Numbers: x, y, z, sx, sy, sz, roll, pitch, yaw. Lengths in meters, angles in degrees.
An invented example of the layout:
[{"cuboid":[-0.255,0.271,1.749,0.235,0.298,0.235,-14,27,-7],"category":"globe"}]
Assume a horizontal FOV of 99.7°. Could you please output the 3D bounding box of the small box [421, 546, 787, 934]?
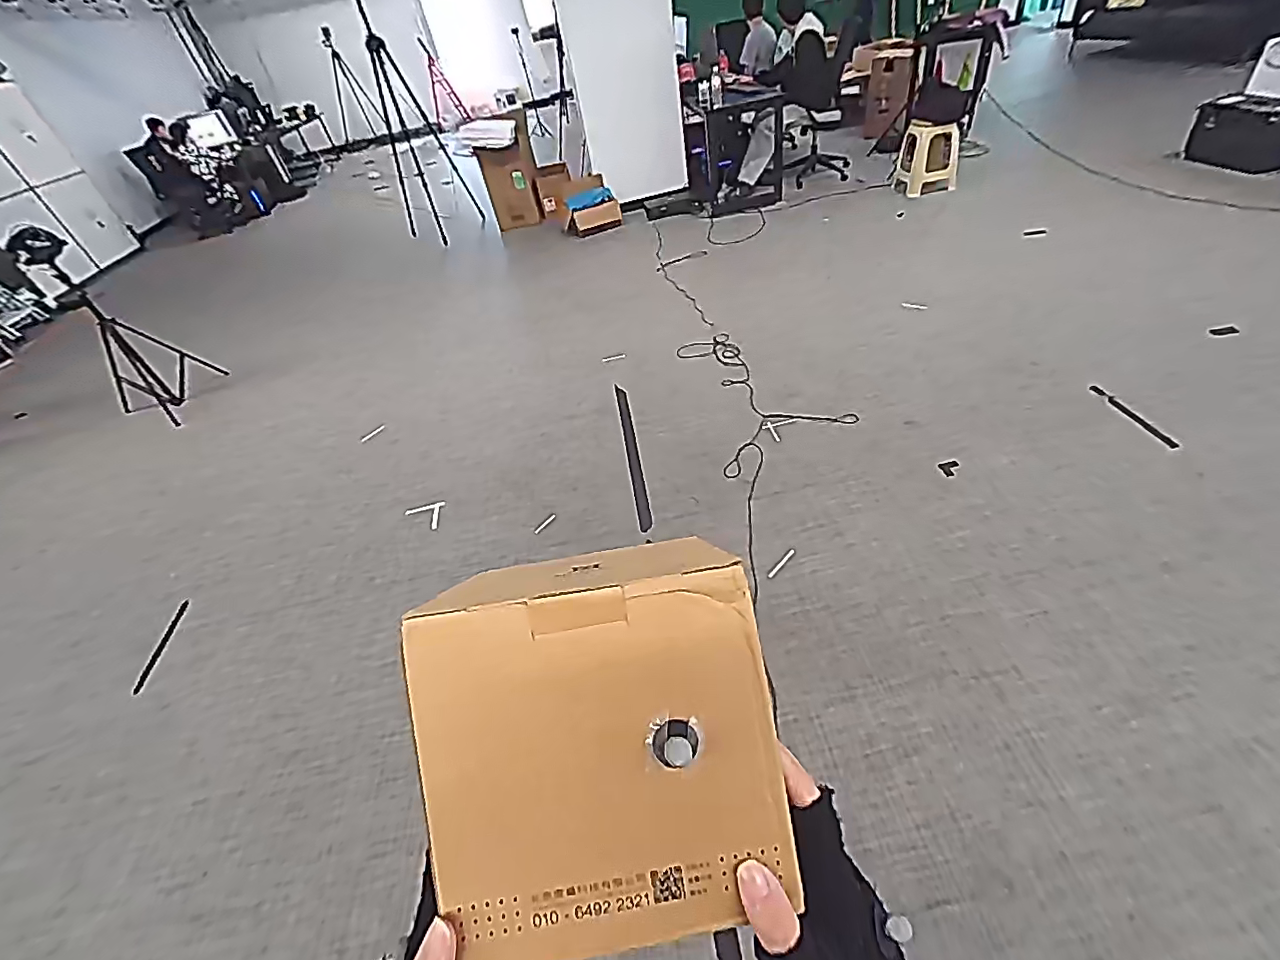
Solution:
[{"cuboid":[-0.016,0.146,0.348,0.168,0.176,0.179,-9,-2,-1],"category":"small box"}]
